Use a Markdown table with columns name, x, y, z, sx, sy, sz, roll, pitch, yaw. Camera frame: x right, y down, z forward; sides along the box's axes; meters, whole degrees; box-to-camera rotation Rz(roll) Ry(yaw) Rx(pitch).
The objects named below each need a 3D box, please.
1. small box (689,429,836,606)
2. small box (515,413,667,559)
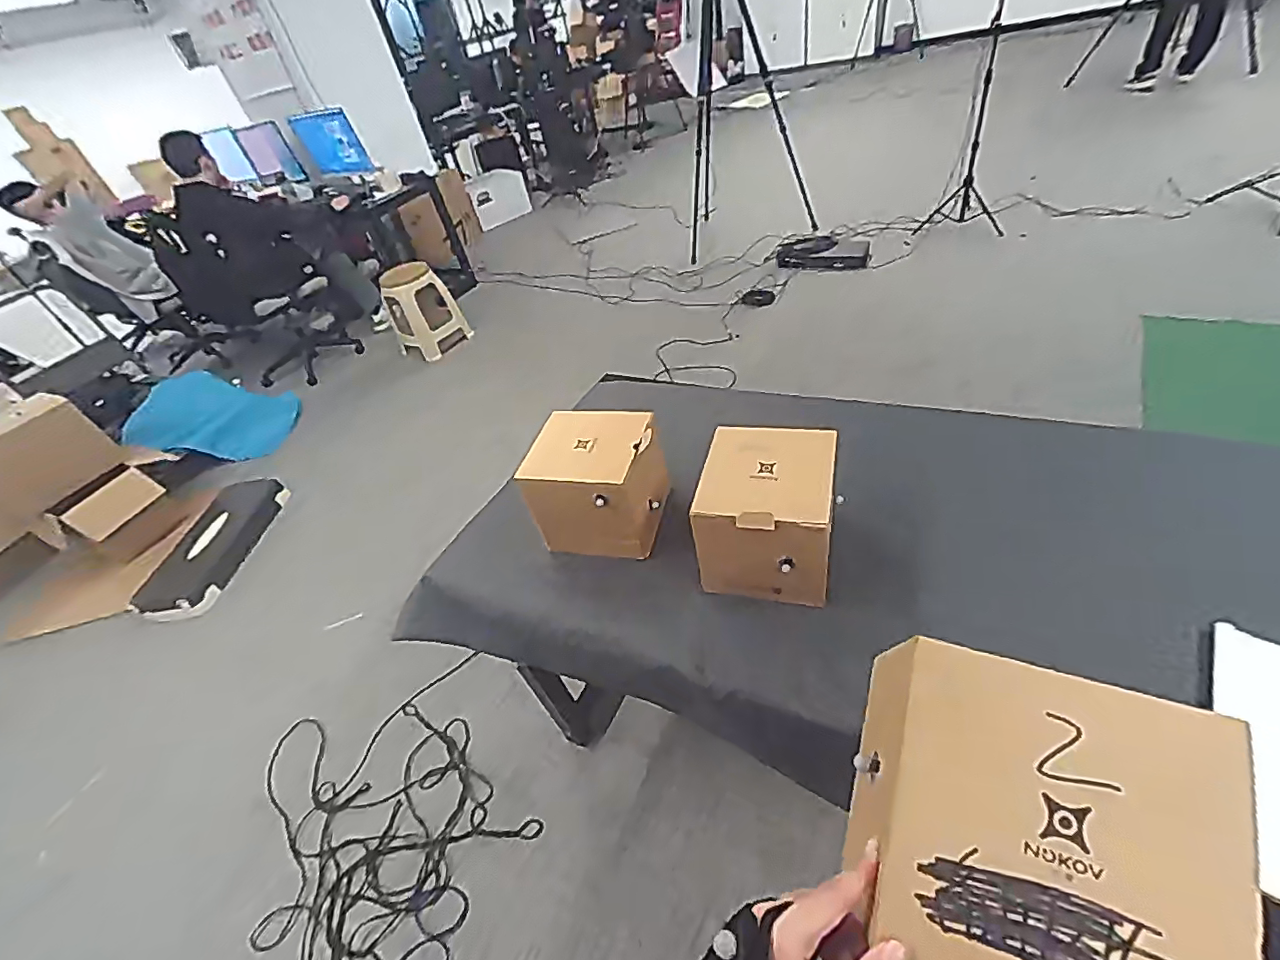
| name | x | y | z | sx | sy | sz | roll | pitch | yaw |
| --- | --- | --- | --- | --- | --- | --- | --- | --- | --- |
| small box | 0.176 | 0.050 | 0.747 | 0.168 | 0.176 | 0.179 | 5 | 44 | 19 |
| small box | -0.067 | 0.009 | 0.865 | 0.179 | 0.176 | 0.168 | 3 | 44 | 18 |
